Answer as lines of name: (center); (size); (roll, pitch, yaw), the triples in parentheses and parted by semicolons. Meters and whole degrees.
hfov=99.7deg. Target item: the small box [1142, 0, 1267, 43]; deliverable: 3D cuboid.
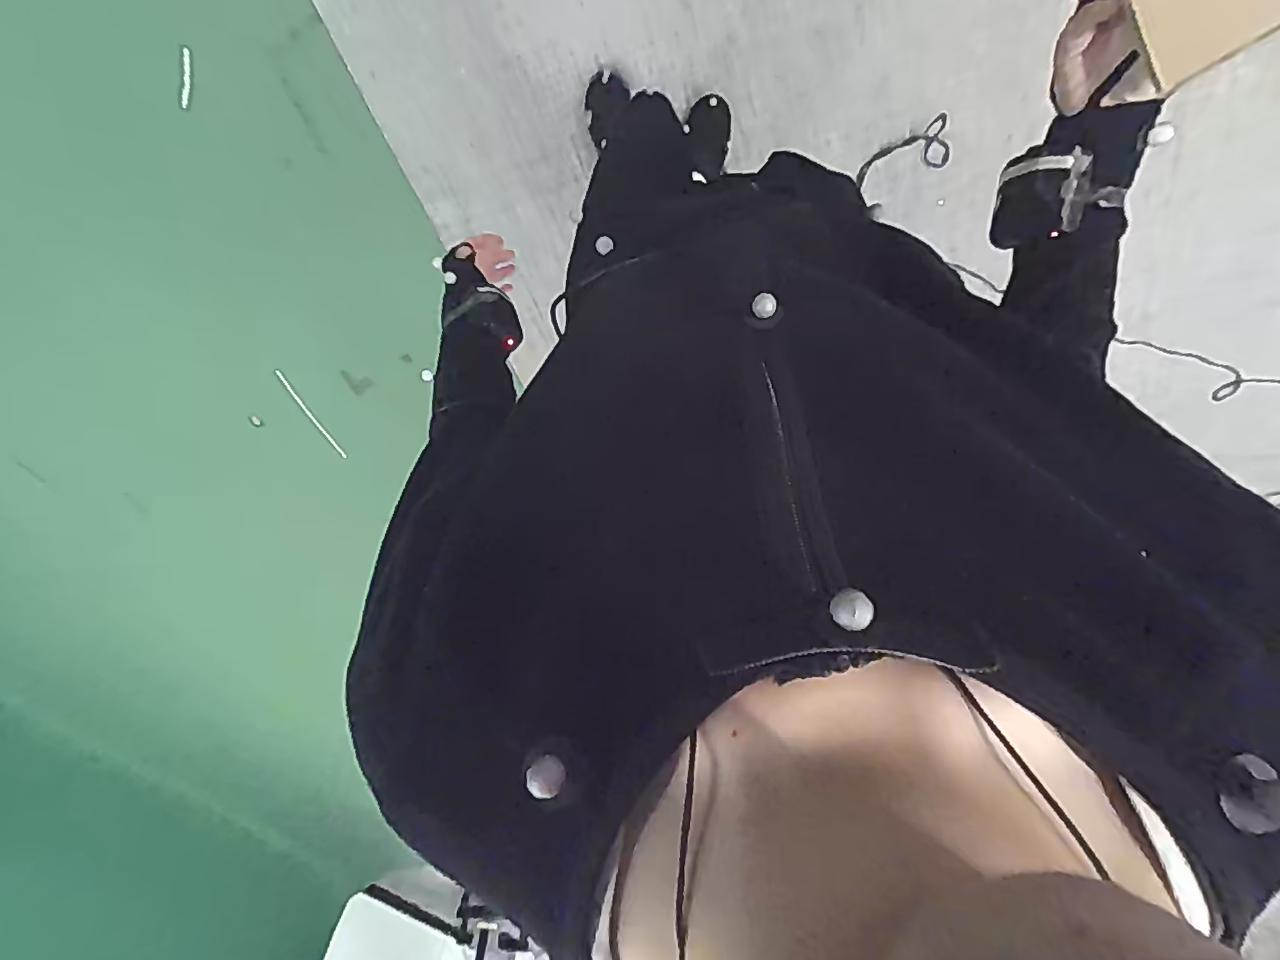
small box: (0.301, -0.343, 0.221); (0.179, 0.168, 0.176); (-20, 117, 47)
